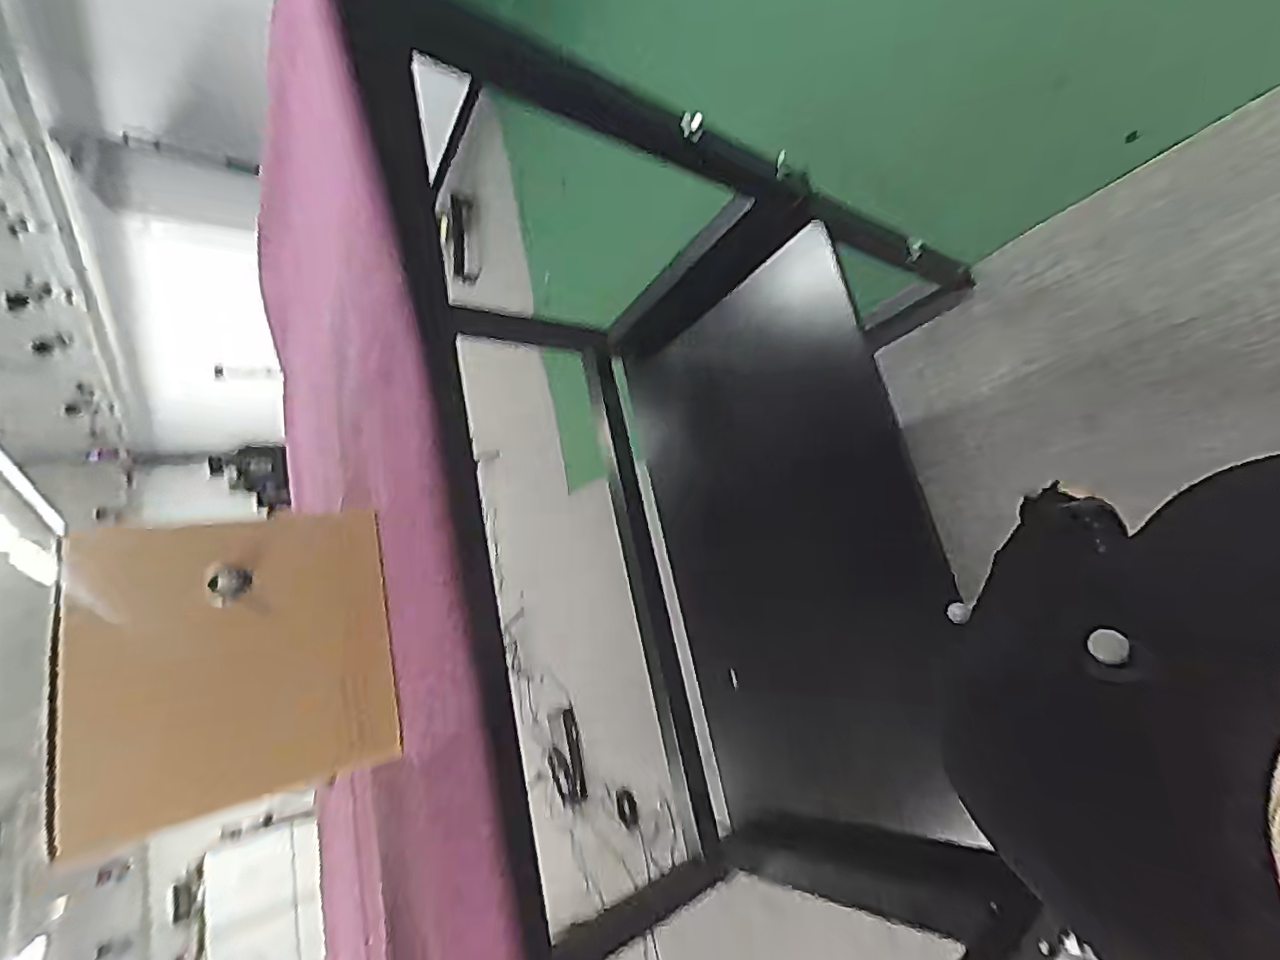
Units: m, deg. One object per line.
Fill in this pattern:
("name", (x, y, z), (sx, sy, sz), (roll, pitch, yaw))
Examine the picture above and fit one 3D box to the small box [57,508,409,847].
("small box", (-0.283, 0.123, 0.394), (0.168, 0.176, 0.179), (-32, 68, 49))
